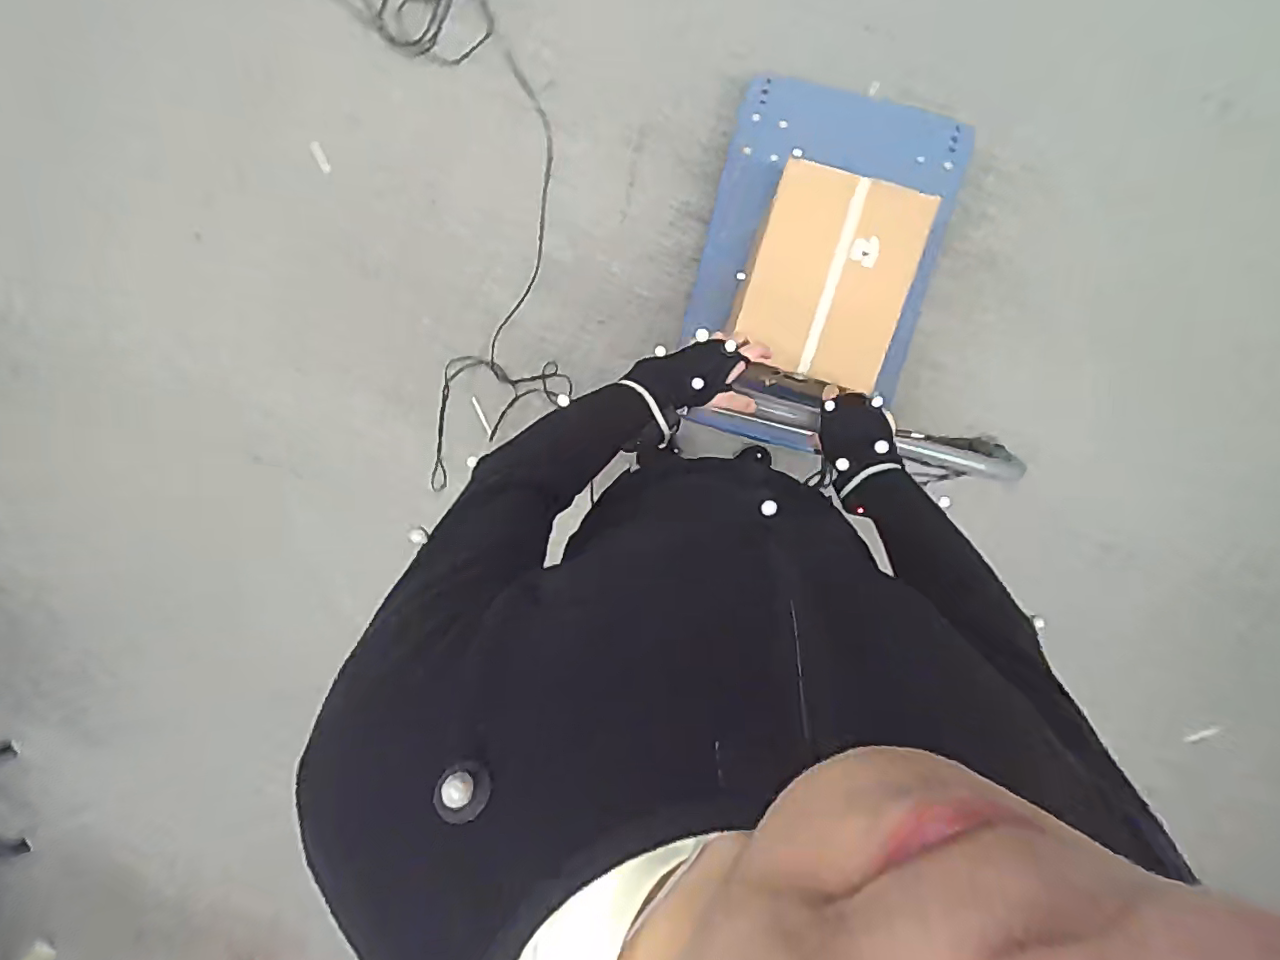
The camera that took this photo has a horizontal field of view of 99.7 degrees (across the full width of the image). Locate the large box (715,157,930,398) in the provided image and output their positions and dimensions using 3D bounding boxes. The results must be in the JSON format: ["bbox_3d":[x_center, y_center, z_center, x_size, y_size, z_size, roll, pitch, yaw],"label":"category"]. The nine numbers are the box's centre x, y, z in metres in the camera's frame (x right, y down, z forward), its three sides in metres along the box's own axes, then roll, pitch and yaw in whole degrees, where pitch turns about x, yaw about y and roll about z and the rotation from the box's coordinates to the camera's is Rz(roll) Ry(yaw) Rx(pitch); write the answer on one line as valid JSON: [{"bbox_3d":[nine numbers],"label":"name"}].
[{"bbox_3d":[0.381,-0.424,1.234,0.320,0.320,0.408,16,97,0],"label":"large box"}]
